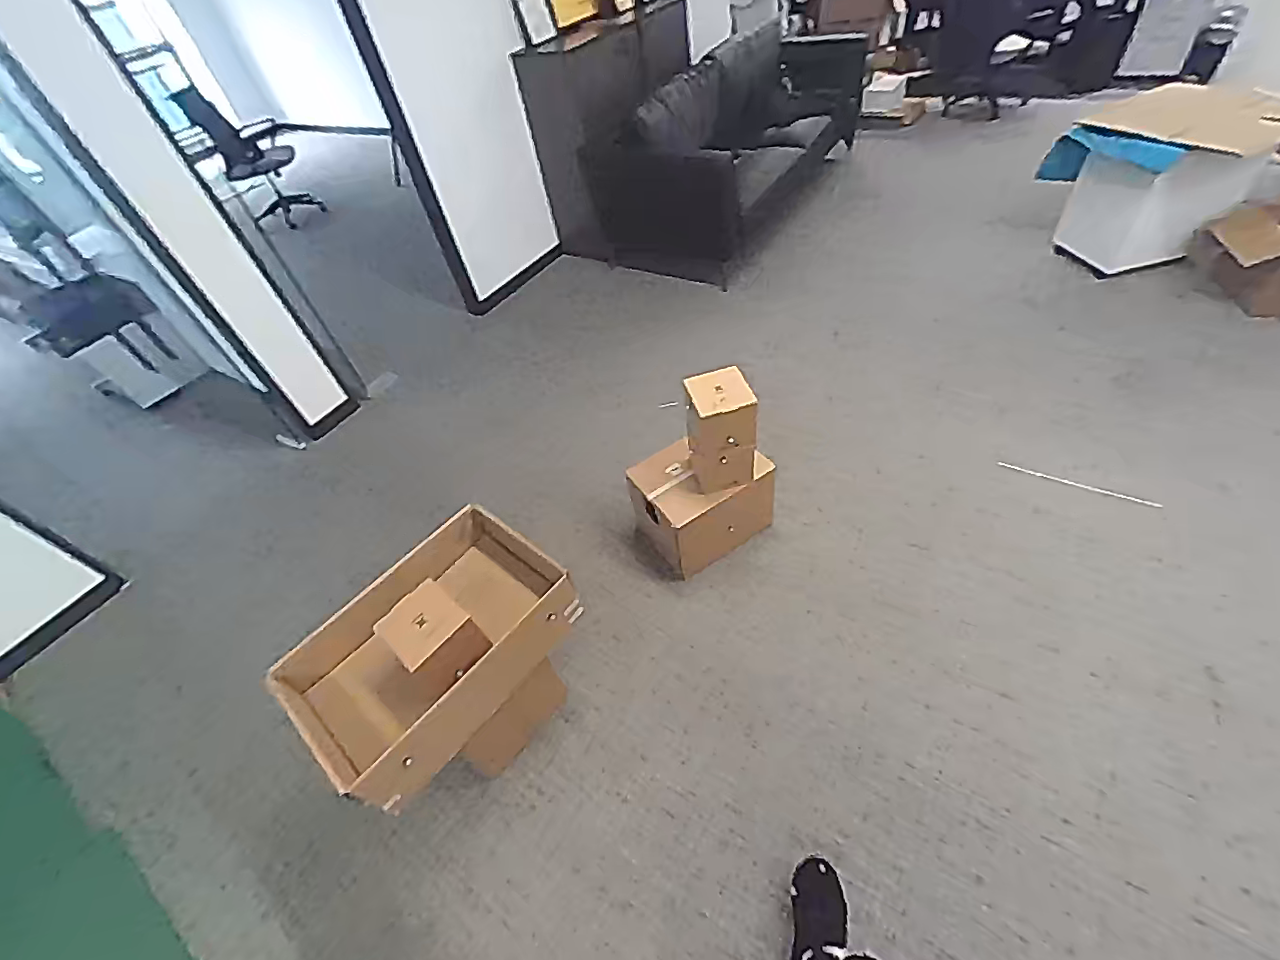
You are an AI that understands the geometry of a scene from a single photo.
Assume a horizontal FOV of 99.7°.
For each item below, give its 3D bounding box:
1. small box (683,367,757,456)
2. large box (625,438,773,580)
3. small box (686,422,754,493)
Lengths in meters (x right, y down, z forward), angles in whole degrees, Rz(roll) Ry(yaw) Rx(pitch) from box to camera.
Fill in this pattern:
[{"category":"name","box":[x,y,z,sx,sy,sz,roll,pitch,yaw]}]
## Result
[{"category":"small box","box":[0.230,-0.198,1.581,0.168,0.176,0.179,-16,49,-3]},{"category":"large box","box":[0.213,0.072,1.899,0.408,0.320,0.320,-31,50,-16]},{"category":"small box","box":[0.249,-0.088,1.704,0.168,0.176,0.179,-15,48,-3]}]
